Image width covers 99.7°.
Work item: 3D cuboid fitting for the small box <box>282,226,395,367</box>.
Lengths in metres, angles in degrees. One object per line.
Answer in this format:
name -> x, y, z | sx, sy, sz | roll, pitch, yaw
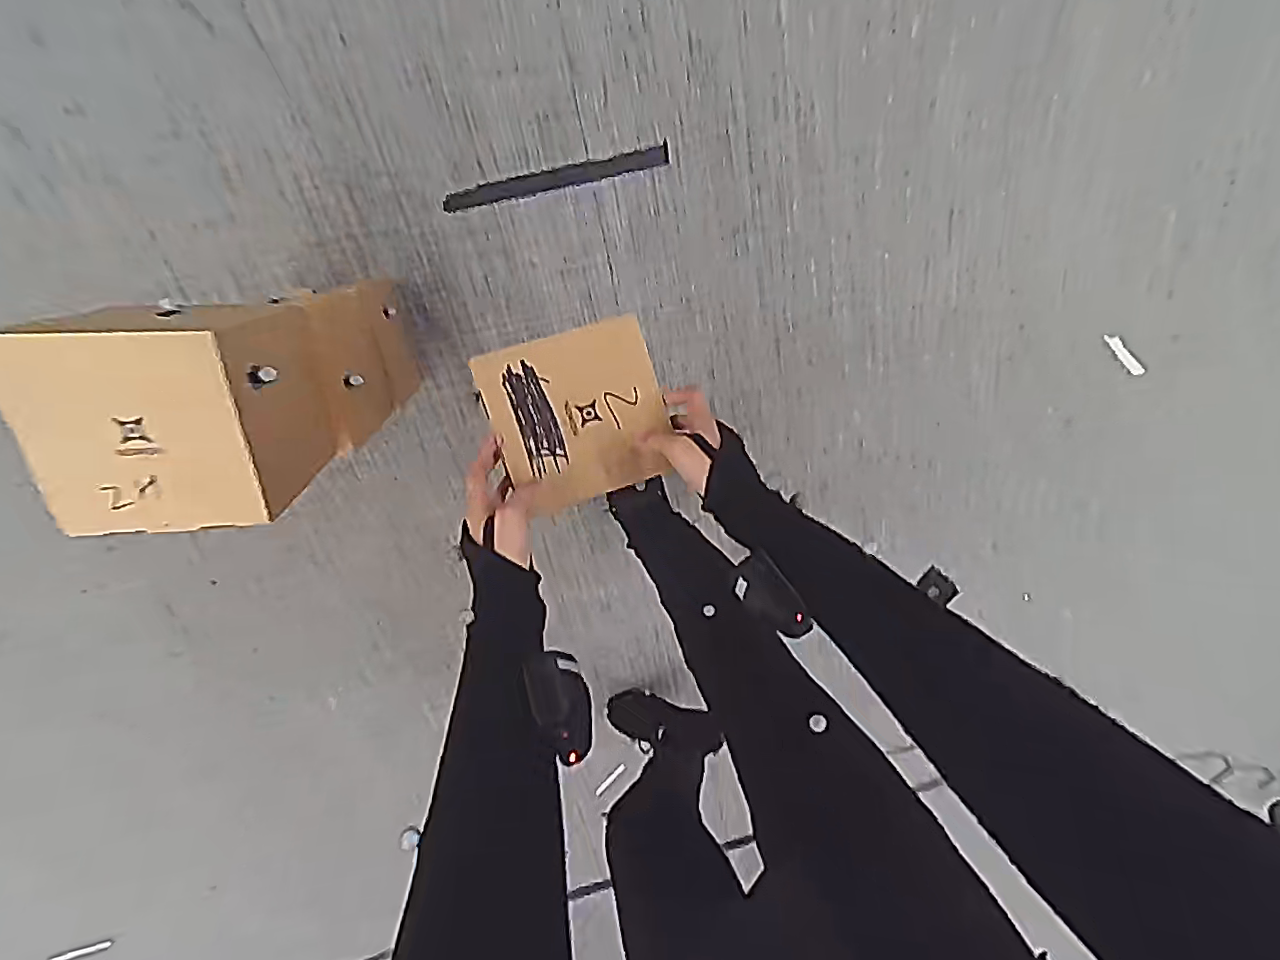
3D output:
small box -> -0.471, -0.254, 0.766 | 0.168, 0.176, 0.179 | -11, 116, -6
